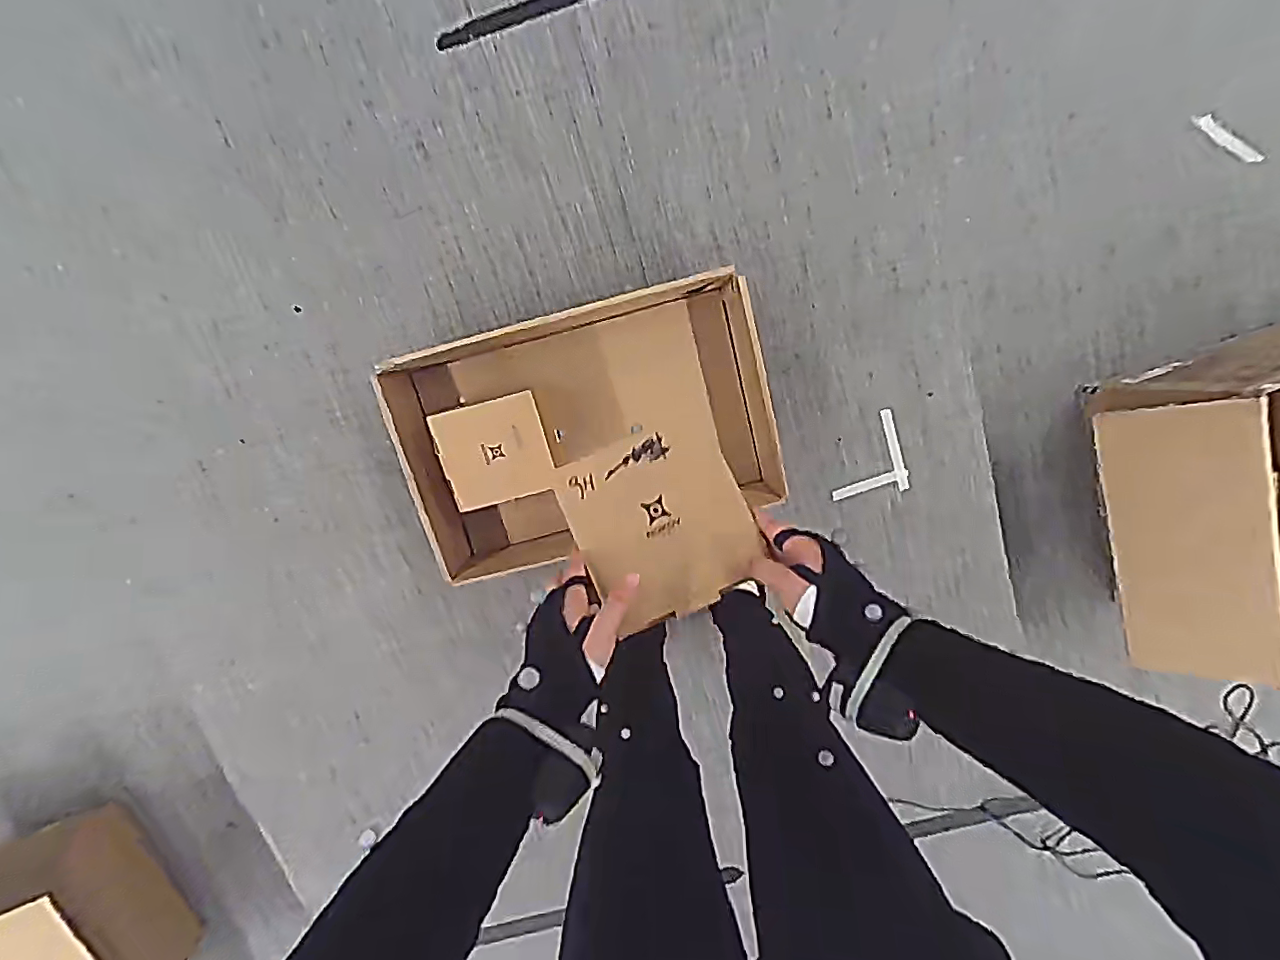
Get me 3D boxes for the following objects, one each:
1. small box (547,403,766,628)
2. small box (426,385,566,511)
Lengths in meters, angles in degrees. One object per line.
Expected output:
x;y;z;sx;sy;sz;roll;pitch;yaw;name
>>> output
0.021;0.042;0.604;0.168;0.176;0.179;-24;81;1;small box
-0.239;-0.063;0.949;0.179;0.176;0.168;-16;104;1;small box
